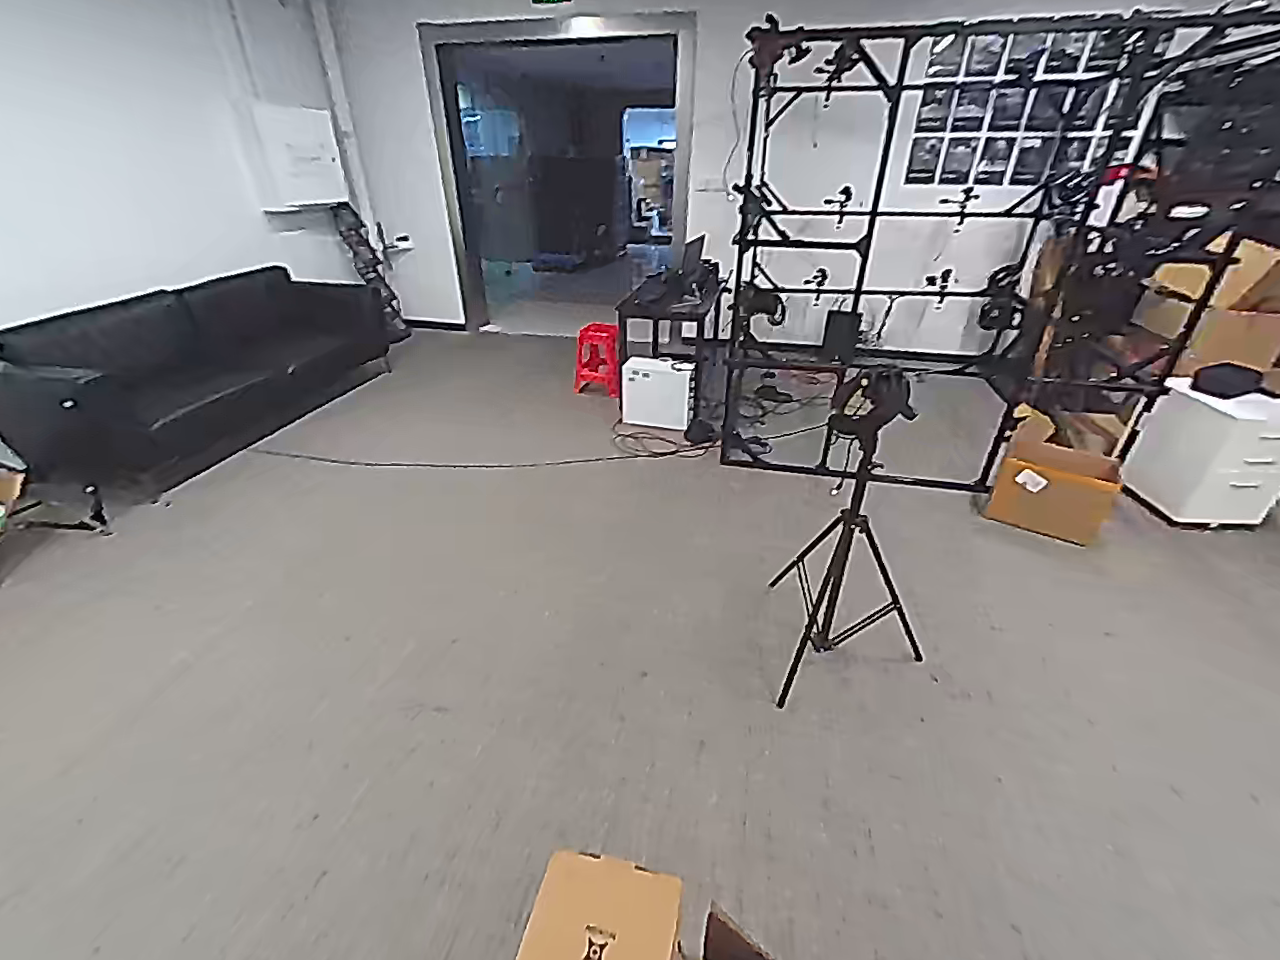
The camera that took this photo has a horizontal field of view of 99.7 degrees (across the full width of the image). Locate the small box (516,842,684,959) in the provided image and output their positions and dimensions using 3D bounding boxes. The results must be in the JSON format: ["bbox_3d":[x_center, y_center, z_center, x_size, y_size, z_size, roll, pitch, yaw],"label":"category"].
[{"bbox_3d":[-0.044,0.577,0.636,0.168,0.176,0.179,5,33,13],"label":"small box"}]
